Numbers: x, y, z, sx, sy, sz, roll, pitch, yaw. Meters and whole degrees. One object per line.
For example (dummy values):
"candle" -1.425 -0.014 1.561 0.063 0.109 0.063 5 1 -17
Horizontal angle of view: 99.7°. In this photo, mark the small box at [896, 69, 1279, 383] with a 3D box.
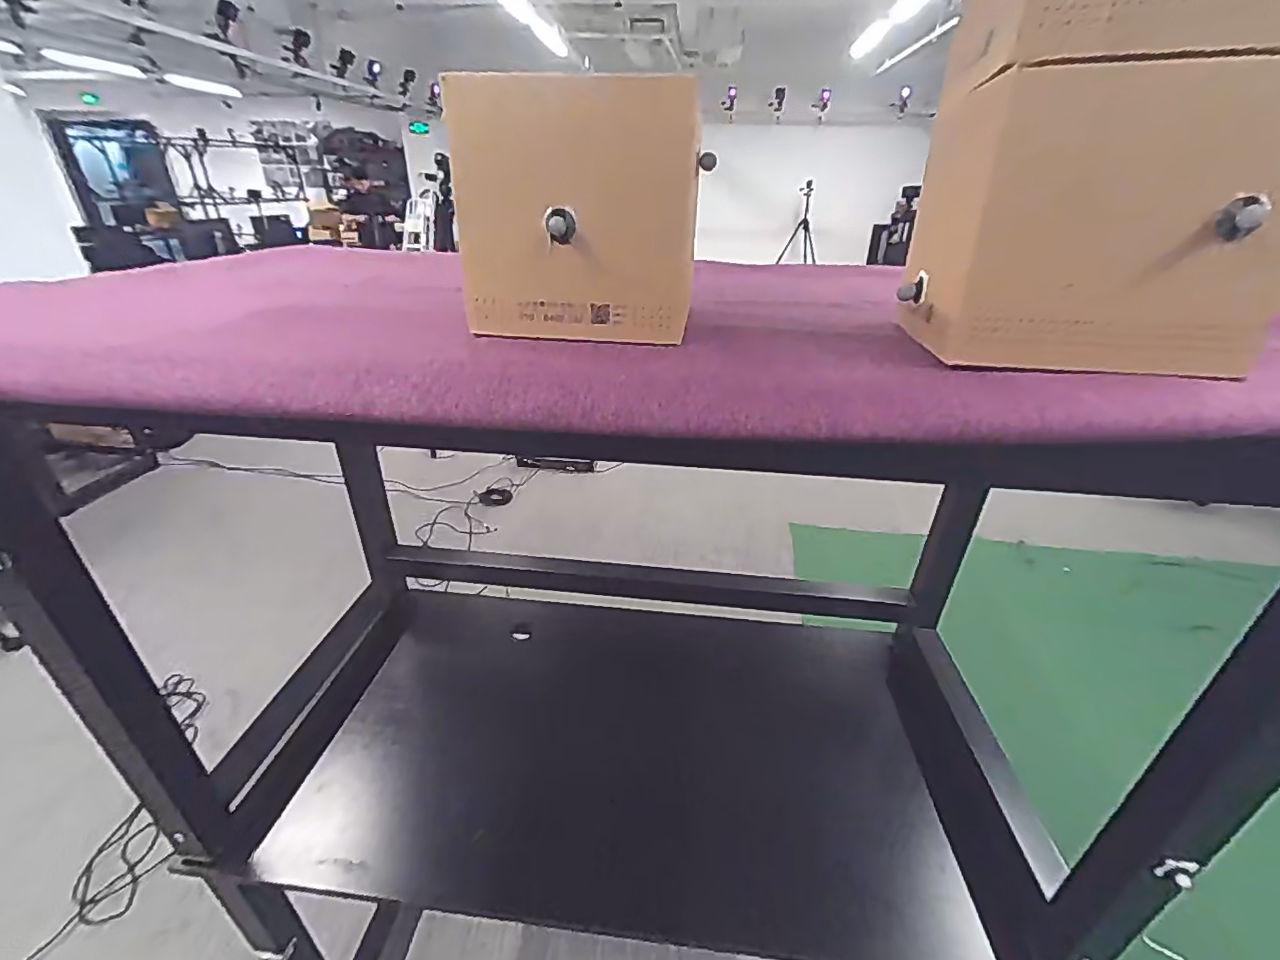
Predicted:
"small box" 0.308 -0.171 0.390 0.179 0.176 0.168 5 25 11

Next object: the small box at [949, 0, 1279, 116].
"small box" 0.308 -0.321 0.325 0.179 0.176 0.168 7 26 13

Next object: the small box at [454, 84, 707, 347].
"small box" -0.033 -0.216 0.455 0.168 0.176 0.179 5 28 5
